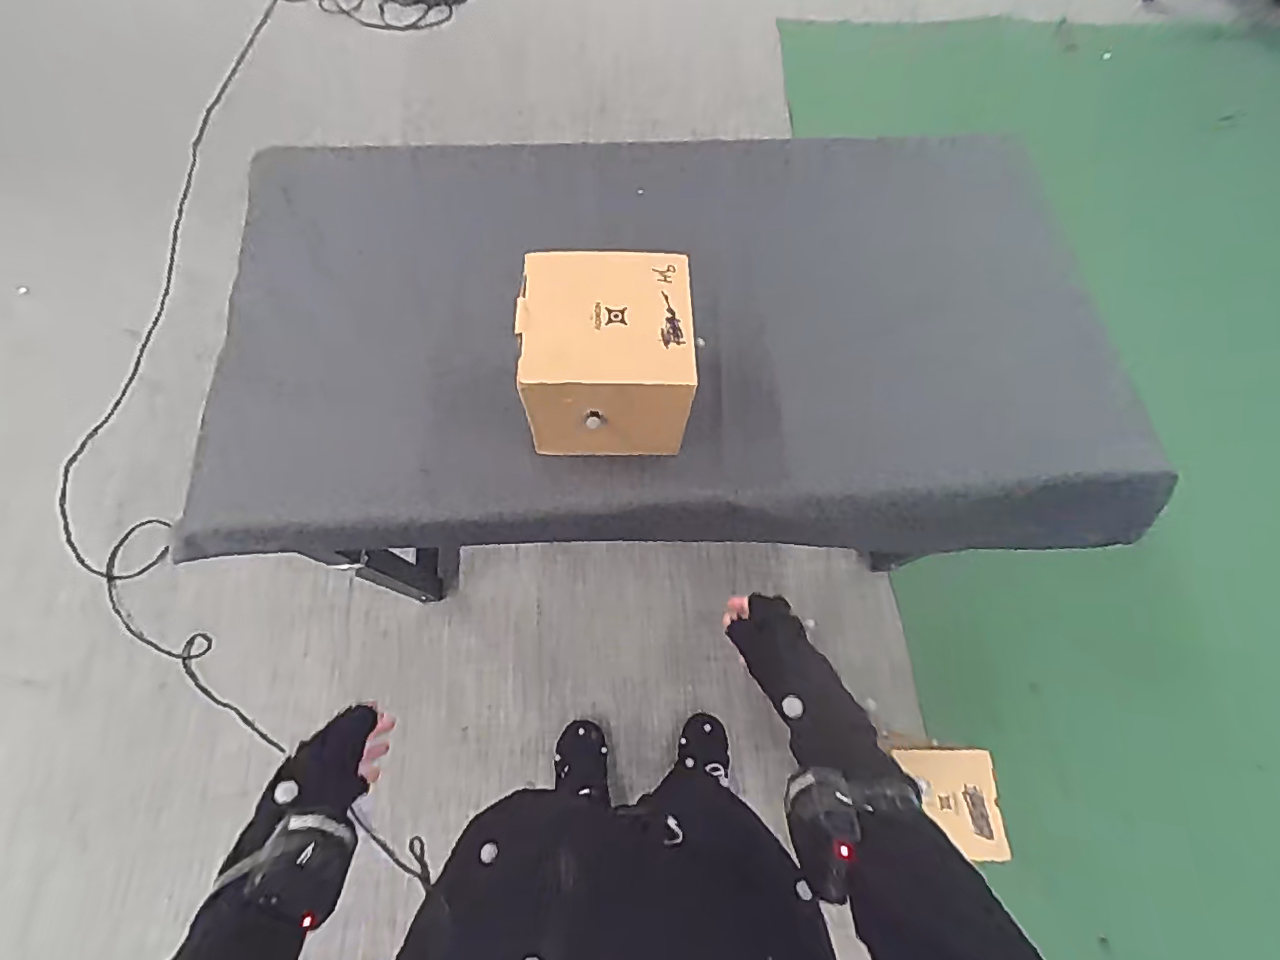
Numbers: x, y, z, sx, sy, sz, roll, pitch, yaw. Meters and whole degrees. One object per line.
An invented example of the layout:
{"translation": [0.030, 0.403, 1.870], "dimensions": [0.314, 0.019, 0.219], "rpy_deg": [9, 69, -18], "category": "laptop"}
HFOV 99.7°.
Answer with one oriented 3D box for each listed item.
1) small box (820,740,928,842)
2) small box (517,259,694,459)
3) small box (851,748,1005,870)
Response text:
{"translation": [0.499, 0.645, 1.137], "dimensions": [0.179, 0.176, 0.168], "rpy_deg": [0, 68, -1], "category": "small box"}
{"translation": [-0.035, -0.131, 0.628], "dimensions": [0.179, 0.176, 0.168], "rpy_deg": [0, 68, -2], "category": "small box"}
{"translation": [0.510, 0.586, 0.983], "dimensions": [0.179, 0.176, 0.168], "rpy_deg": [2, 68, -1], "category": "small box"}
